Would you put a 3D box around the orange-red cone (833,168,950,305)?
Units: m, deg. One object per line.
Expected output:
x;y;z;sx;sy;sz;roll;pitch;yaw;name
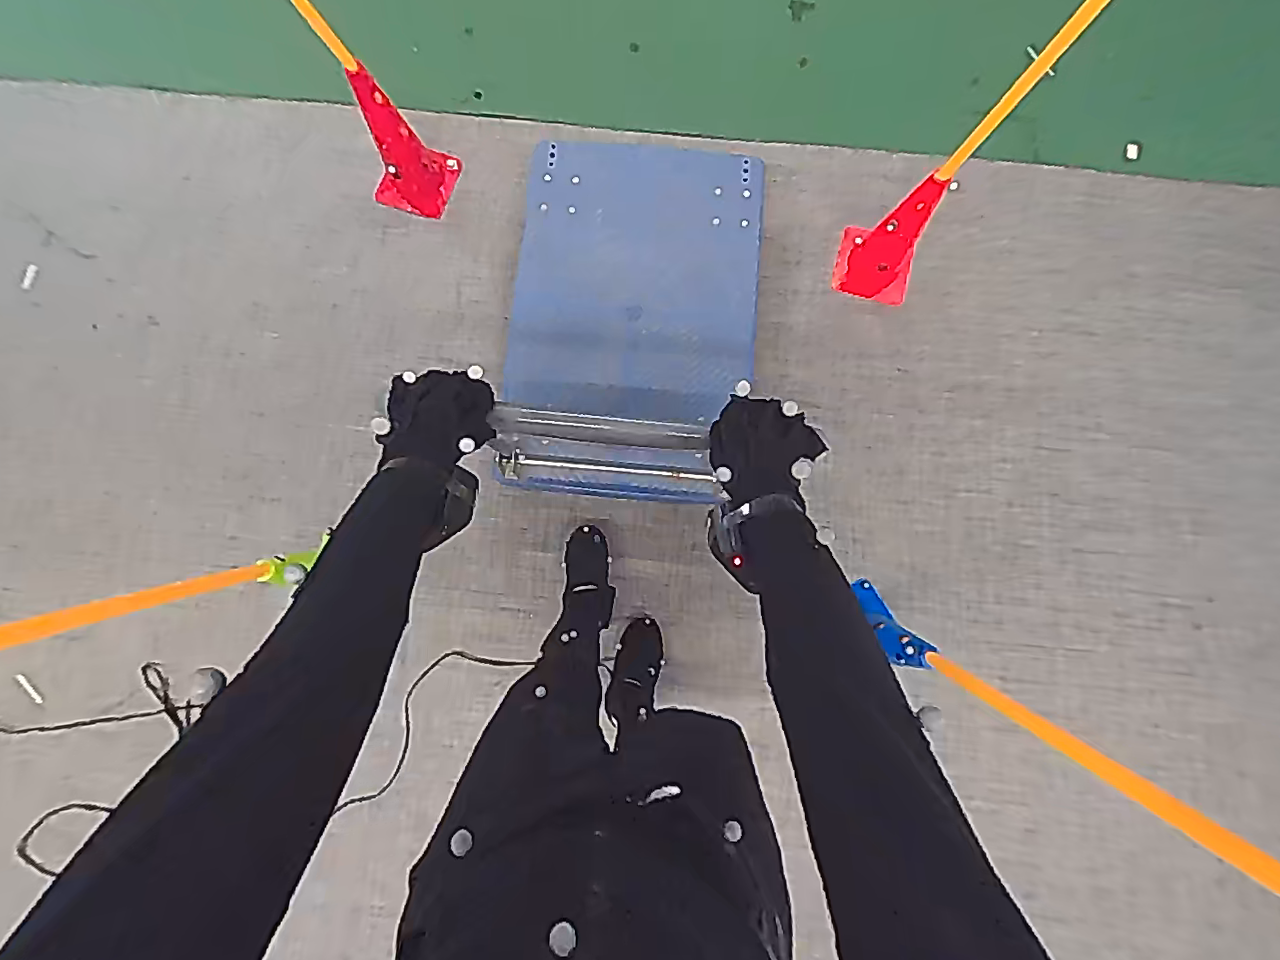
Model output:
0.641;-0.615;1.317;0.198;0.360;0.199;17;82;3;orange-red cone
